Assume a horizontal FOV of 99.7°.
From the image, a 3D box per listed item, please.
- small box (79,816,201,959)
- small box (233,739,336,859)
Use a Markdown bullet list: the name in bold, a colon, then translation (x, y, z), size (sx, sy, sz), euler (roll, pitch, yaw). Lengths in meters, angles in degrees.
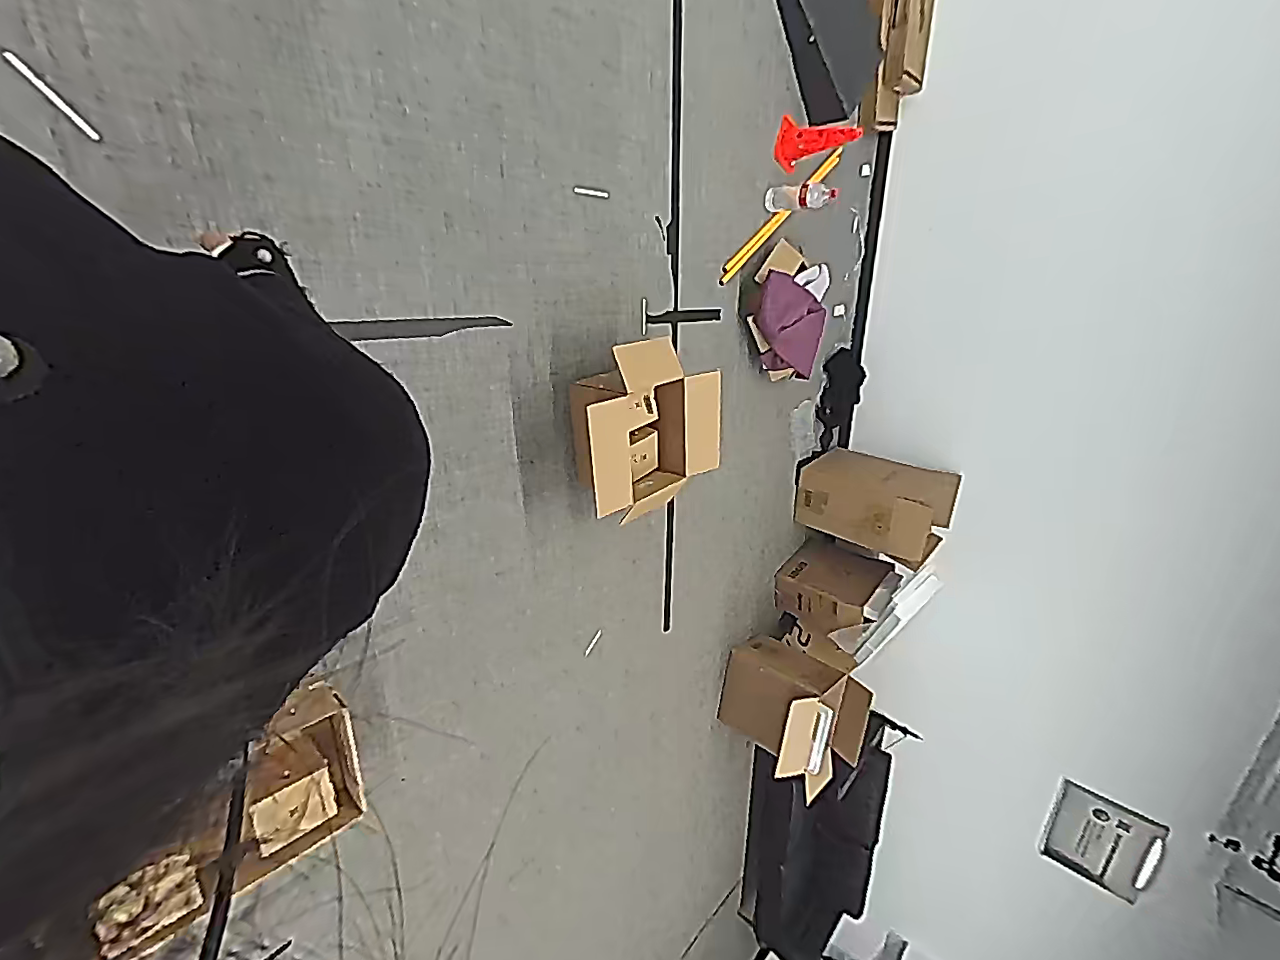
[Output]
- **small box**: translation (-1.127, 0.902, 1.220), size (0.168, 0.176, 0.179), euler (-16, 114, -46)
- **small box**: translation (-0.931, 0.821, 1.417), size (0.179, 0.176, 0.168), euler (-17, 115, -43)
